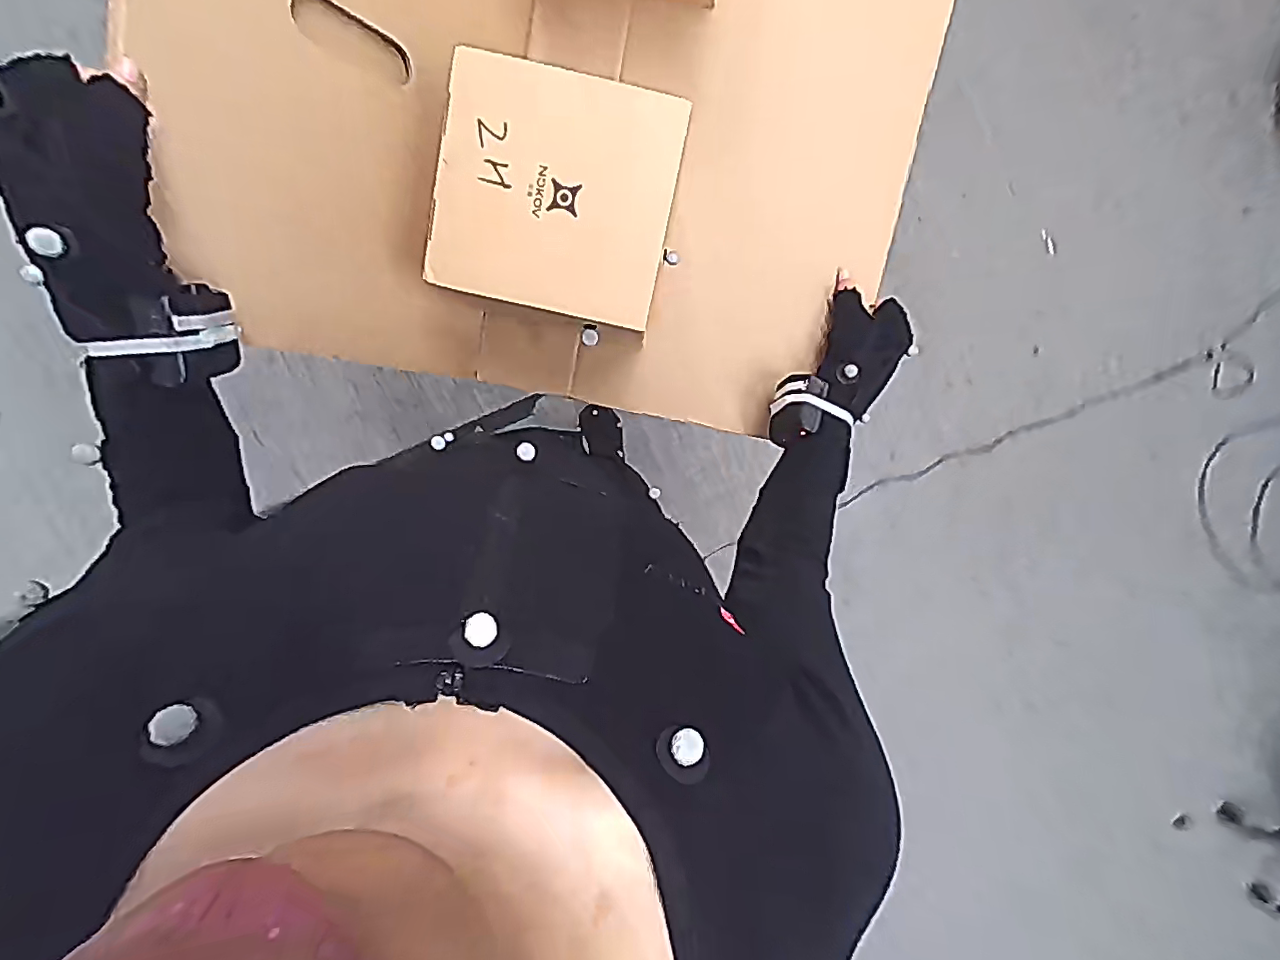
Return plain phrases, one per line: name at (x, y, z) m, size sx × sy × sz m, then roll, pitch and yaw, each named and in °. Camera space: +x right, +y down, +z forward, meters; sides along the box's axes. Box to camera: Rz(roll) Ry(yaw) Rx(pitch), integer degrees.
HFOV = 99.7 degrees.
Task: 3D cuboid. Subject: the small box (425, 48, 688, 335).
small box at (-0.065, -0.231, 0.485) m, size 0.179 × 0.176 × 0.168 m, roll 12°, pitch 100°, yaw -2°
